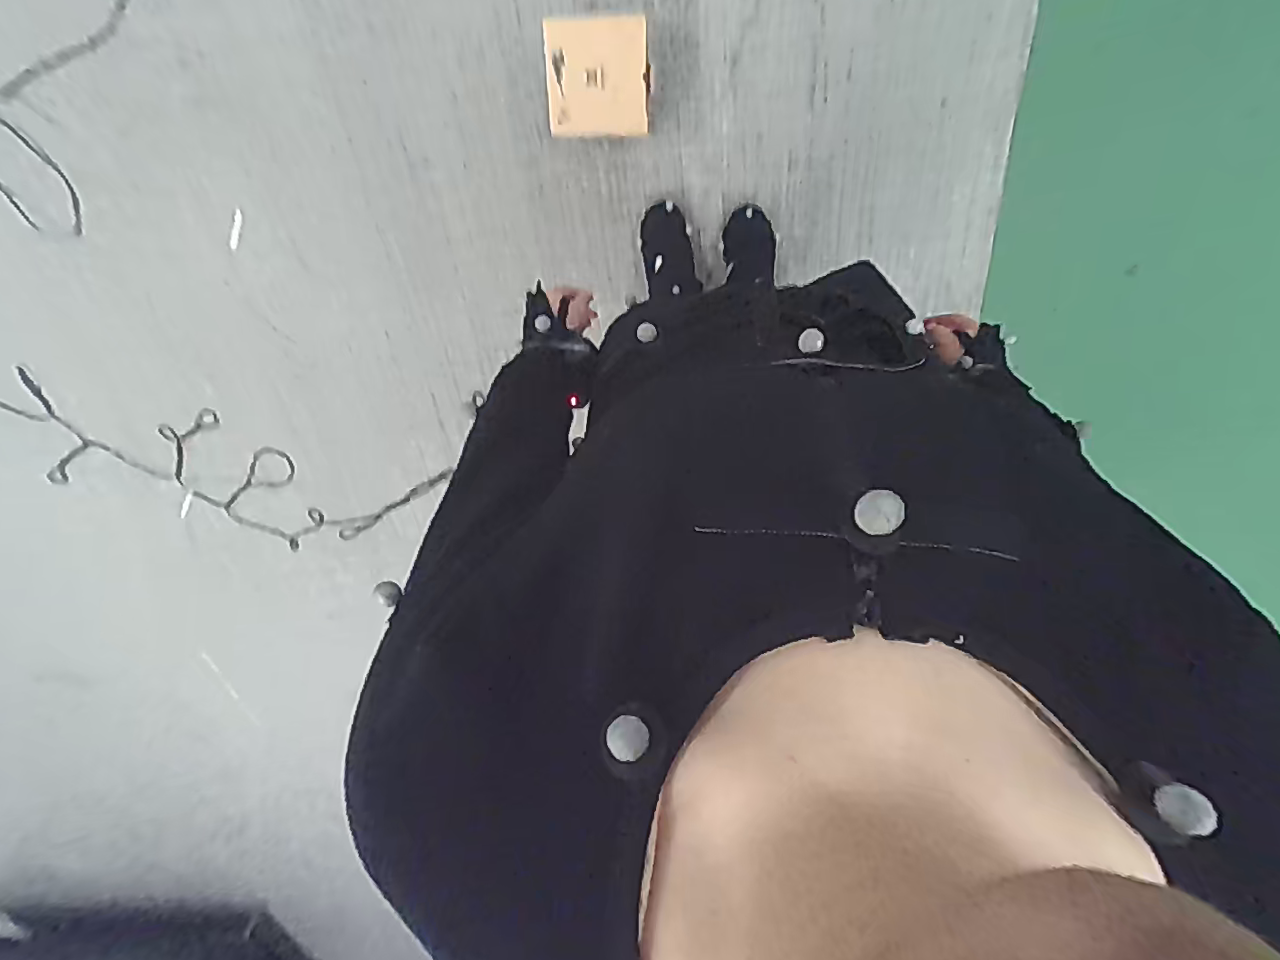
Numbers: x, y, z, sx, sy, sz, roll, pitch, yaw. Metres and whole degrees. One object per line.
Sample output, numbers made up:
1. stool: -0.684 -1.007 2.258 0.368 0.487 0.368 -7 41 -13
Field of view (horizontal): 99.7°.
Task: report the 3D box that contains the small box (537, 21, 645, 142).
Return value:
1. small box: -0.080 -0.721 0.991 0.179 0.176 0.168 1 121 3
